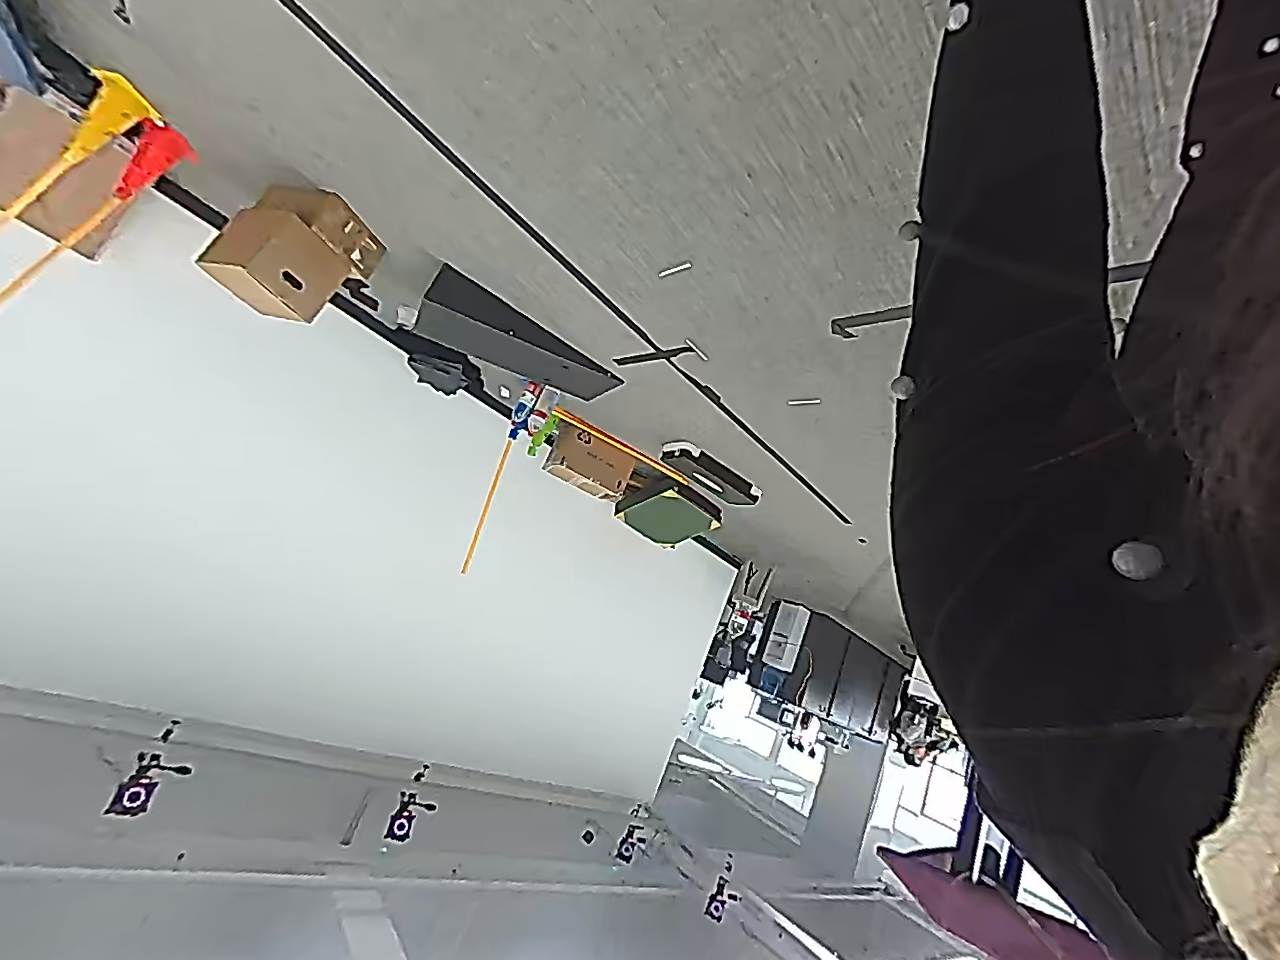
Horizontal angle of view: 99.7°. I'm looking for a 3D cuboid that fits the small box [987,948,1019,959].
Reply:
[{"bbox_3d":[0.916,1.266,1.285,0.179,0.176,0.168,8,160,45],"label":"small box"}]
